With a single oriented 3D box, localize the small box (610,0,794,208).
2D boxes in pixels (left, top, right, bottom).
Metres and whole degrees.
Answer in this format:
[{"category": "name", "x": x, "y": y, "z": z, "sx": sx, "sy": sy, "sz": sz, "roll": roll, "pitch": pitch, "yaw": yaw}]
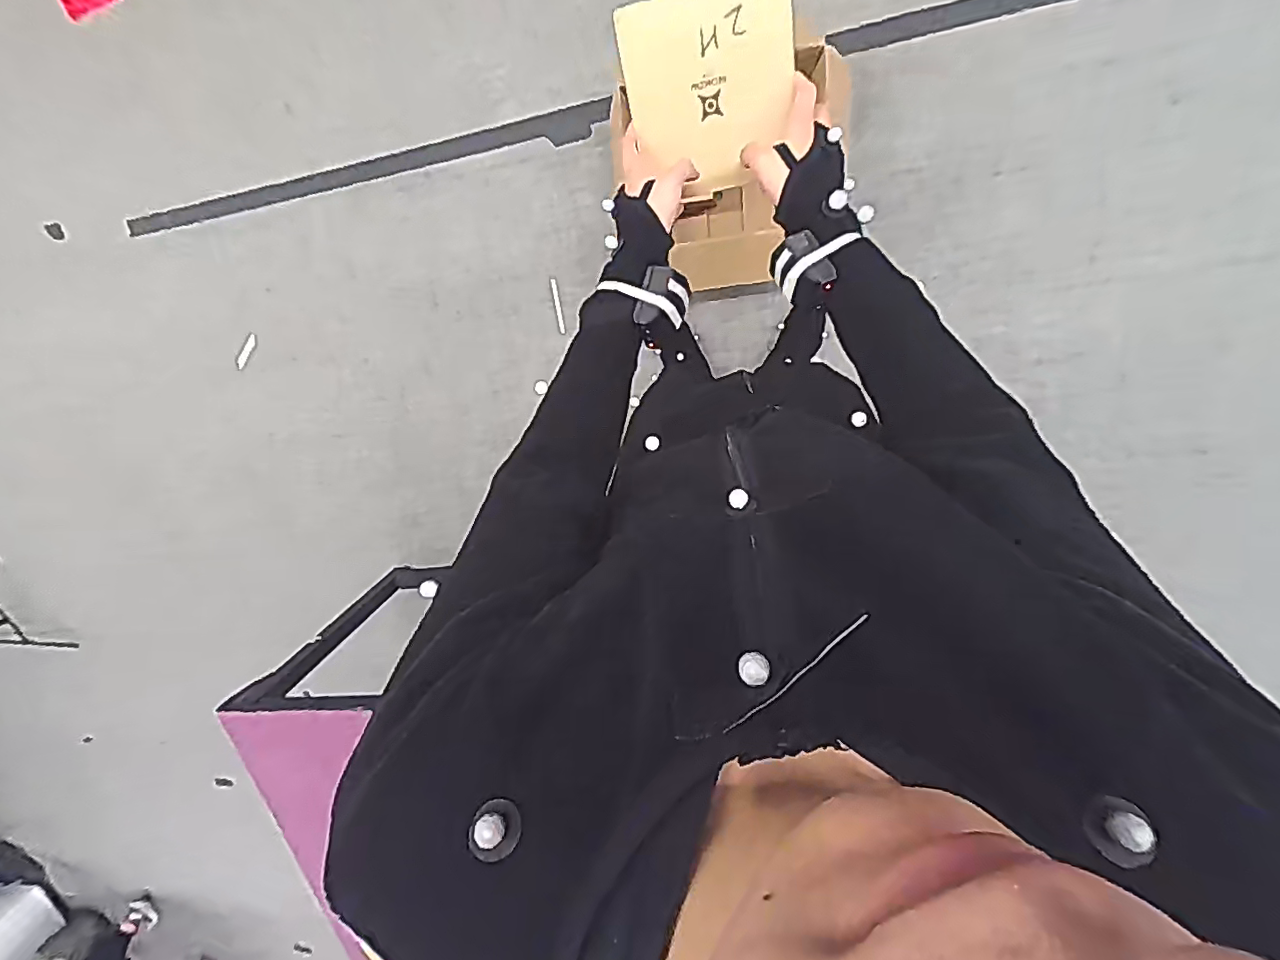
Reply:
[{"category": "small box", "x": 0.076, "y": -0.424, "z": 0.604, "sx": 0.168, "sy": 0.176, "sz": 0.179, "roll": -7, "pitch": 120, "yaw": 12}]
